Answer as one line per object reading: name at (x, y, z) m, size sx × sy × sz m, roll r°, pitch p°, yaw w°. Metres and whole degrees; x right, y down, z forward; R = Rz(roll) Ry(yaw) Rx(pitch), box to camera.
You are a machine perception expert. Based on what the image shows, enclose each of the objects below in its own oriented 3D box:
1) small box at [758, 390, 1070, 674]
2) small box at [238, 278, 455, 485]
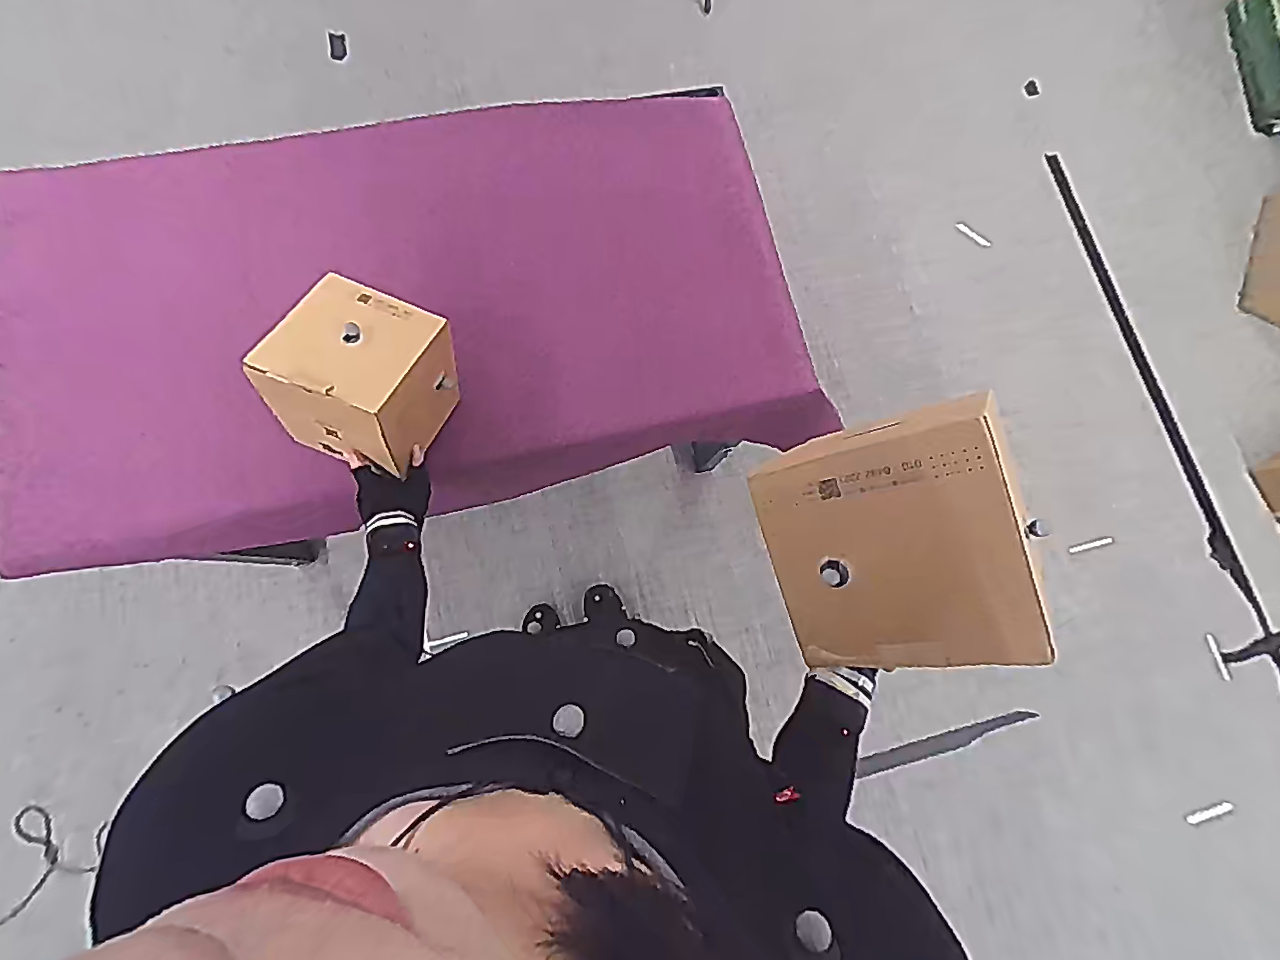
small box at (0.216, 0.035, 0.435) m, size 0.179 × 0.168 × 0.176 m, roll -23°, pitch 96°, yaw -54°
small box at (-0.363, -0.128, 0.710) m, size 0.168 × 0.179 × 0.176 m, roll 23°, pitch 59°, yaw 0°
